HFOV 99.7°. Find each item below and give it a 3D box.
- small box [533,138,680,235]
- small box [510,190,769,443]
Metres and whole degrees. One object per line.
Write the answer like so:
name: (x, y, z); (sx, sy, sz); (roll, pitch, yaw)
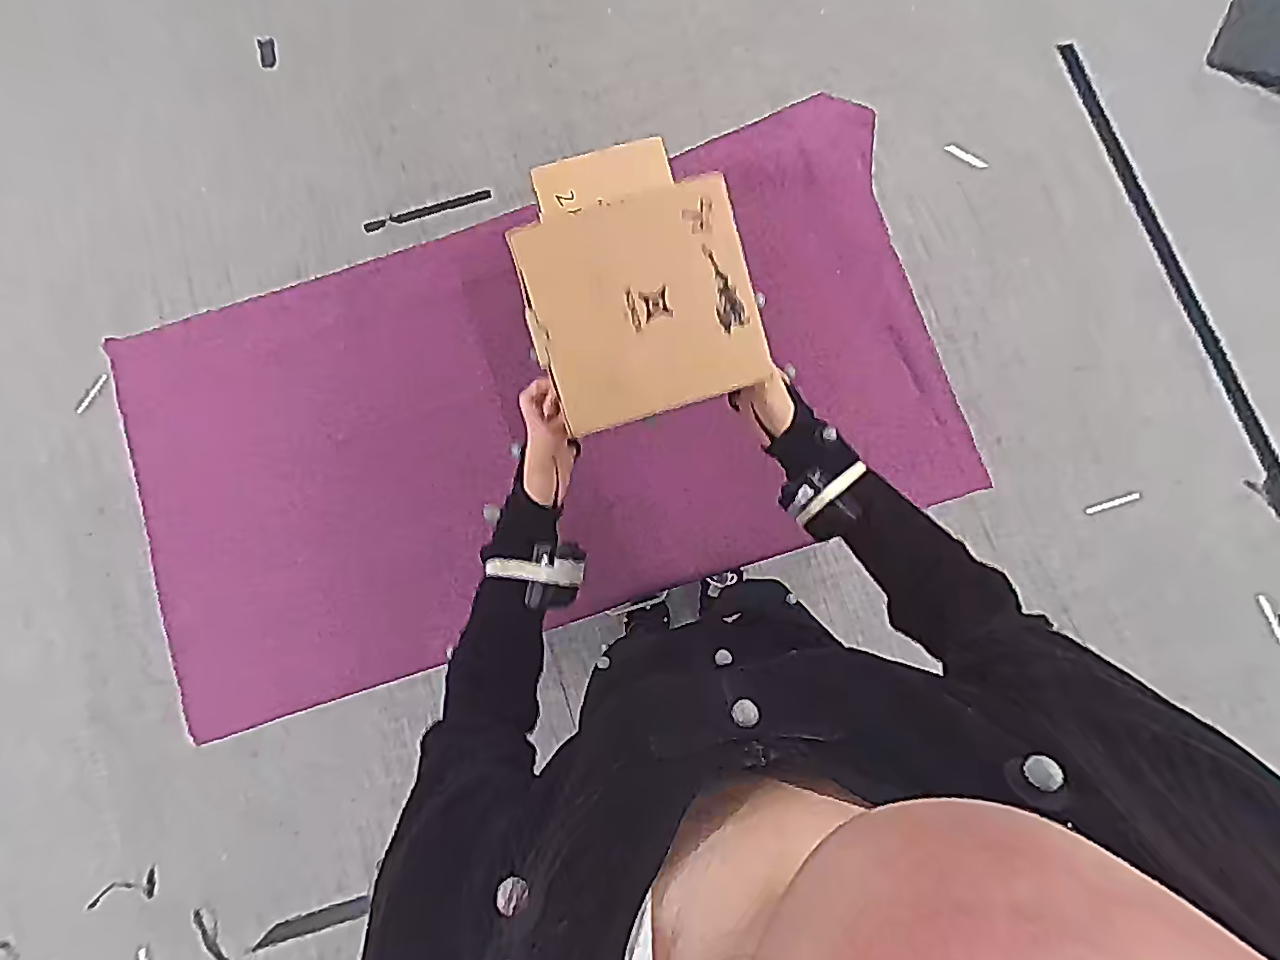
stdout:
small box: (-0.032, -0.327, 0.755); (0.179, 0.176, 0.168); (-15, 84, 1)
small box: (-0.002, -0.134, 0.509); (0.179, 0.176, 0.168); (-17, 95, -2)
